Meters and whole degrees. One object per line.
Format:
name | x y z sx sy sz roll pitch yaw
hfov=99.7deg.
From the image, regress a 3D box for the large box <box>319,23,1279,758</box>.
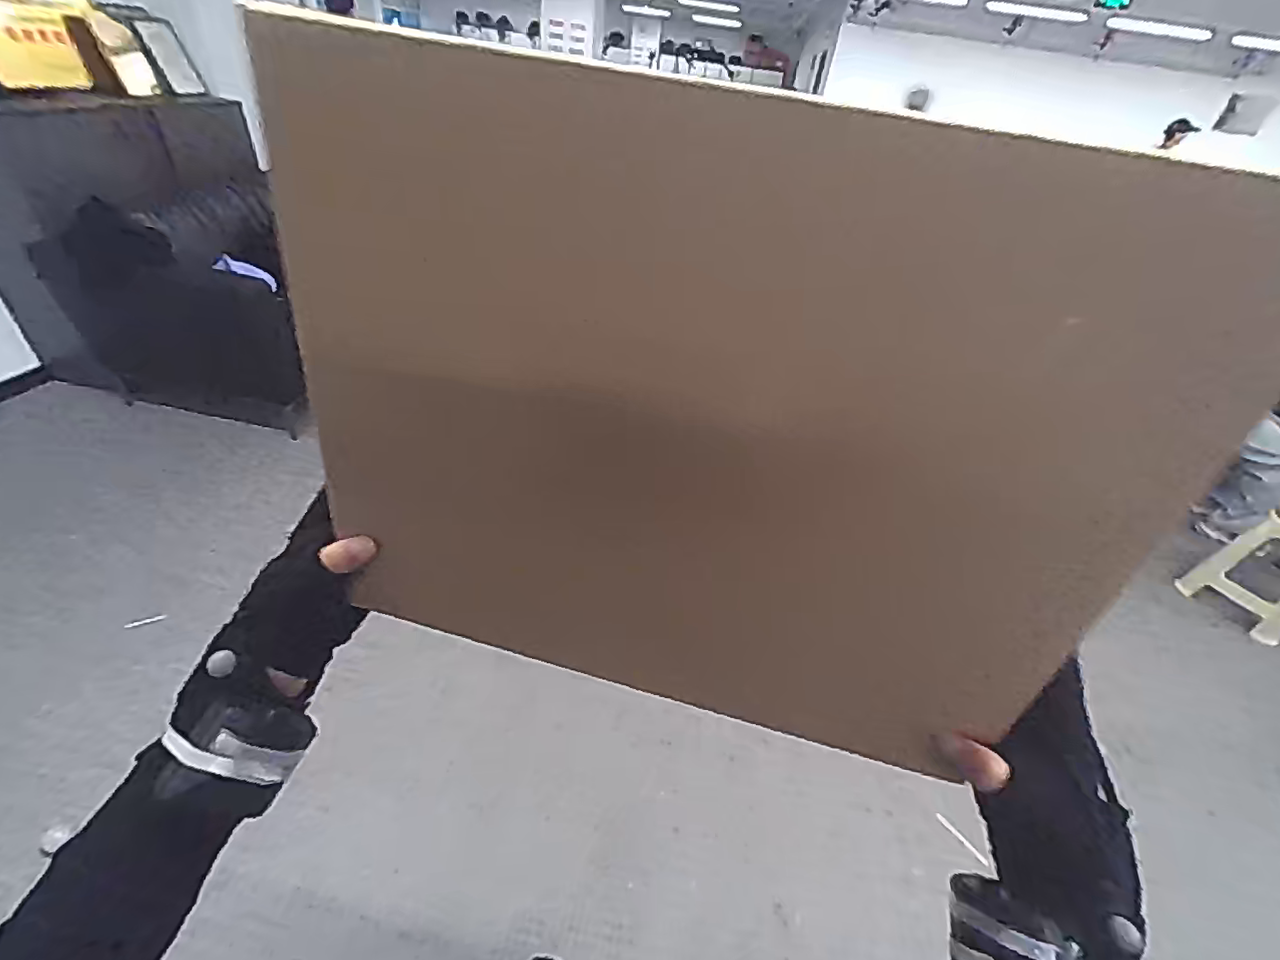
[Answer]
large box | 0.064 -0.070 0.397 0.408 0.320 0.320 15 32 5
